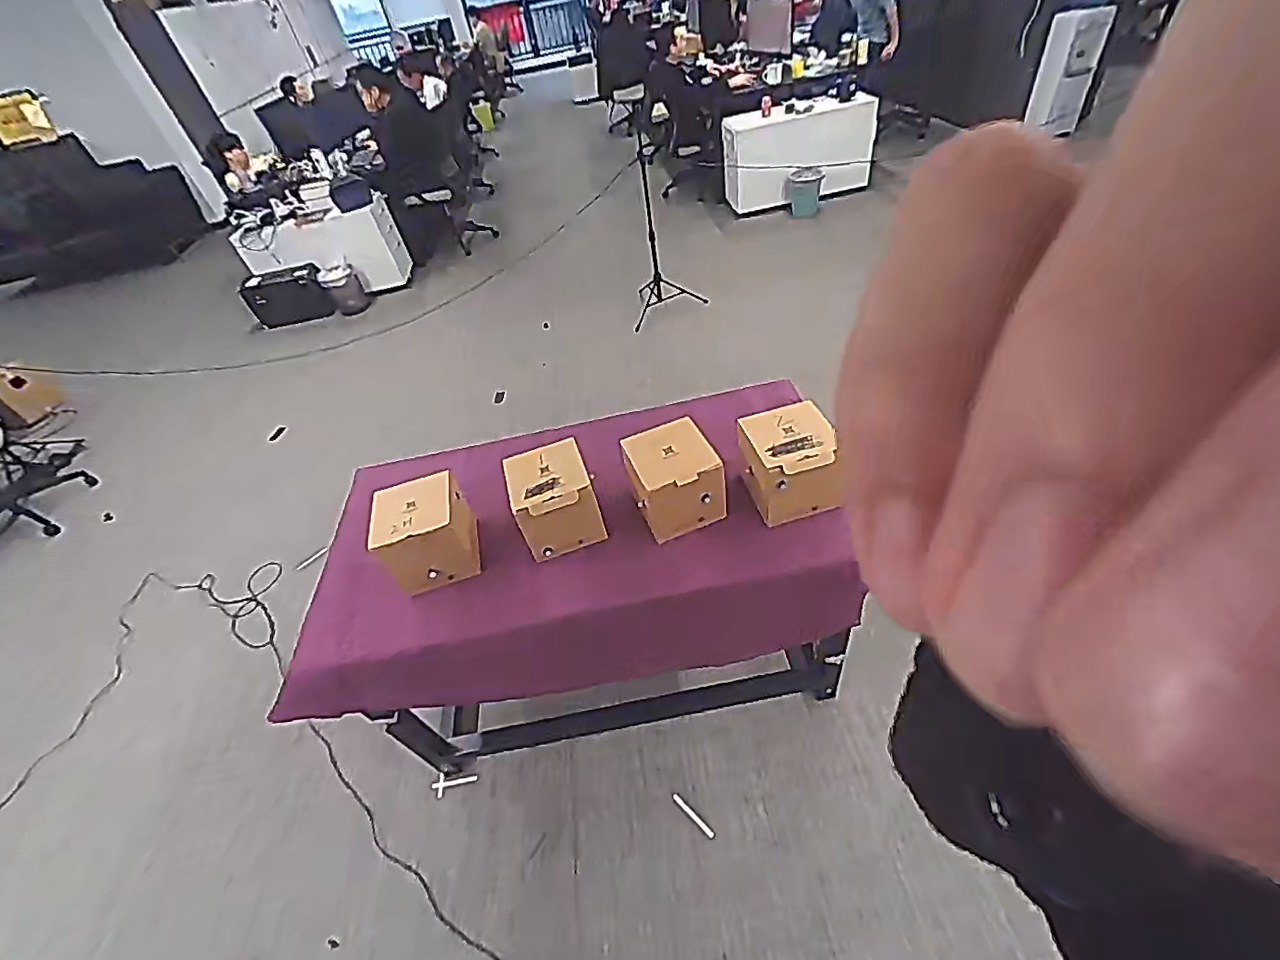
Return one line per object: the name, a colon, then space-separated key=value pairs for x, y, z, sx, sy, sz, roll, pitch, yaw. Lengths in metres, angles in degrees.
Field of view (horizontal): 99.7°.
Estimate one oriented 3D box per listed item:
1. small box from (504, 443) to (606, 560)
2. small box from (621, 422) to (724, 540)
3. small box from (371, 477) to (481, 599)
small box: x=-0.184 y=0.053 z=1.190 sx=0.168 sy=0.176 sz=0.179 roll=-19 pitch=43 yaw=-7
small box: x=0.074 y=0.008 z=1.179 sx=0.168 sy=0.176 sz=0.179 roll=-20 pitch=44 yaw=-8
small box: x=-0.457 y=0.127 z=1.177 sx=0.168 sy=0.176 sz=0.179 roll=-18 pitch=44 yaw=-5
